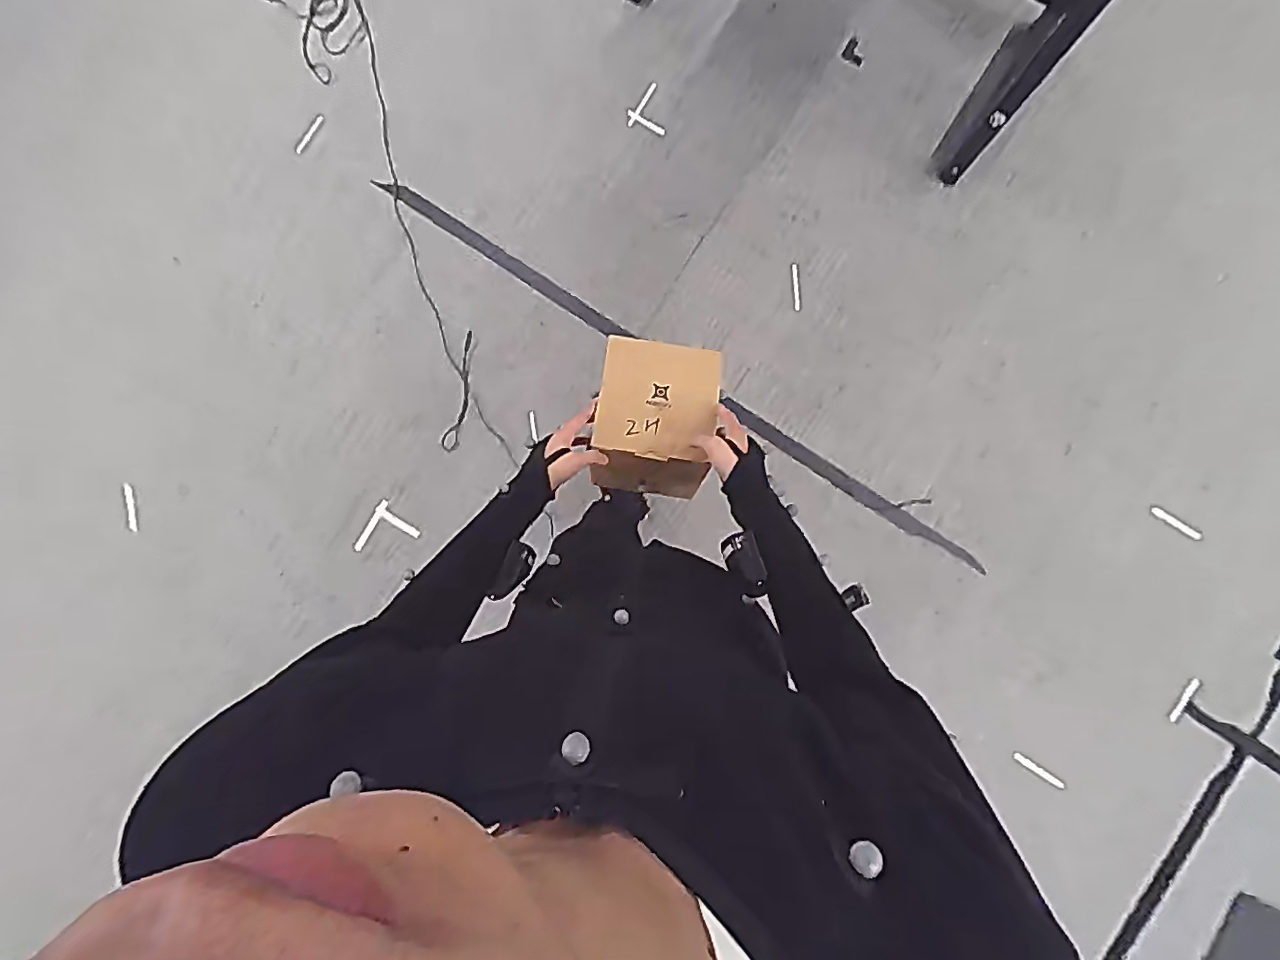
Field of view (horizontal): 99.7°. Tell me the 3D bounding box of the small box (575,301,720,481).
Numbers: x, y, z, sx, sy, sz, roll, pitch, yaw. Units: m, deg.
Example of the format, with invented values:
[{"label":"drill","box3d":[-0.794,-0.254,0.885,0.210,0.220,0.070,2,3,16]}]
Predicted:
[{"label":"small box","box3d":[0.006,-0.114,0.750,0.168,0.176,0.179,8,73,-2]}]
